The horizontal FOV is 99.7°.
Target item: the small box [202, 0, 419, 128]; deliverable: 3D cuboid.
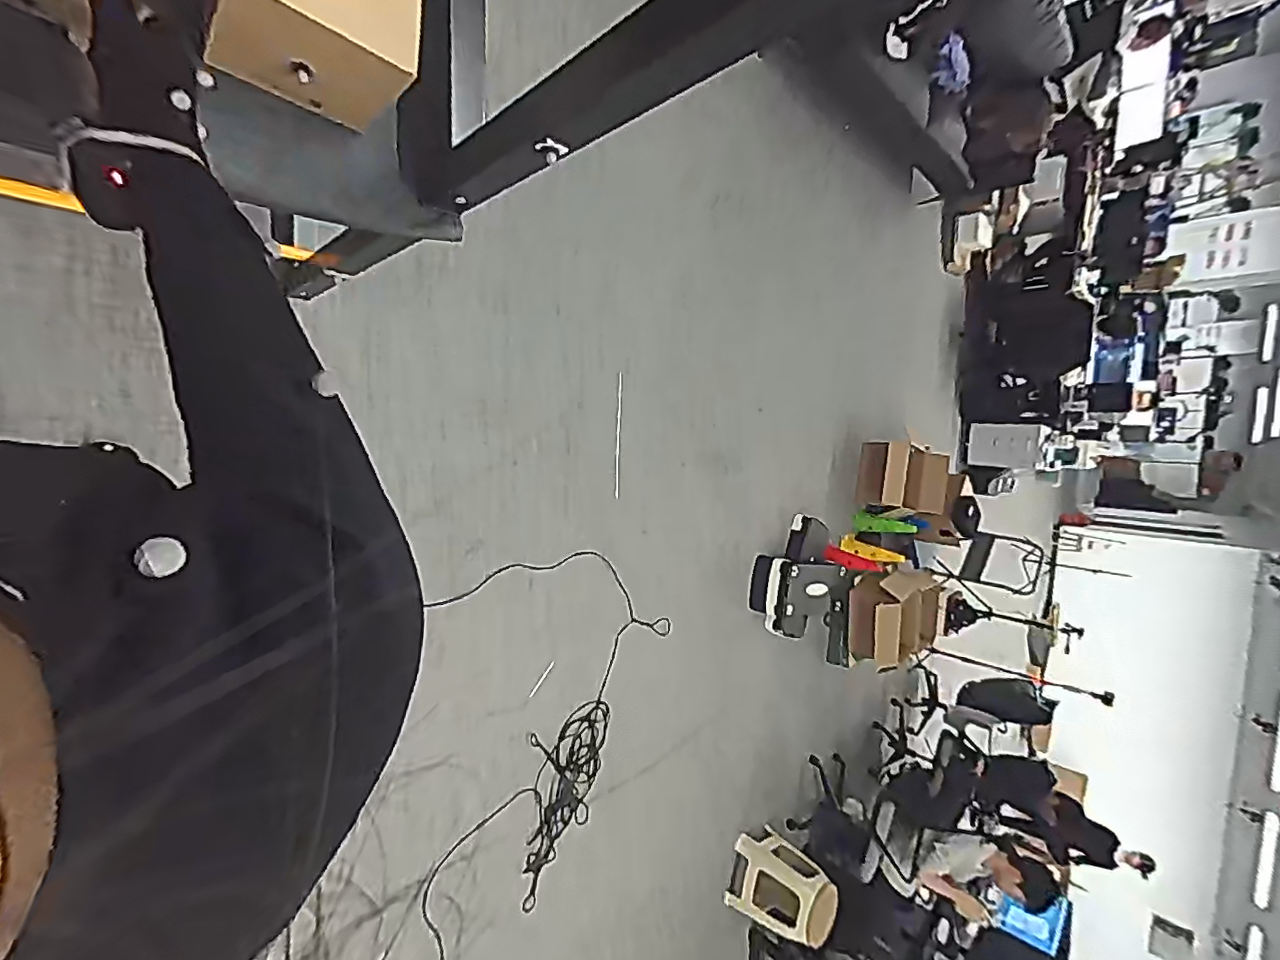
[{"bbox_3d":[-0.351,-0.524,0.579,0.168,0.176,0.179,3,92,-46],"label":"small box"}]
